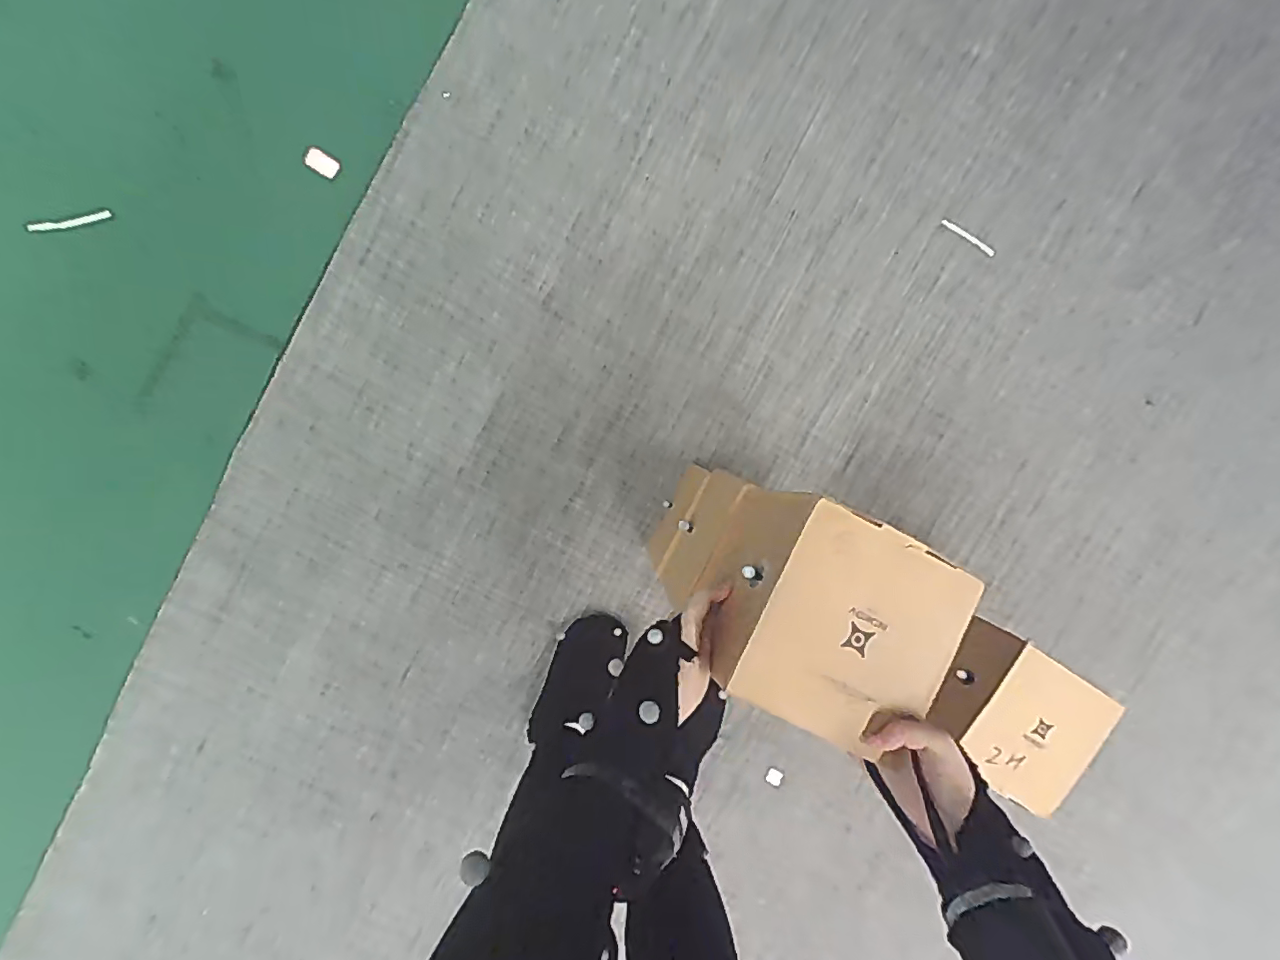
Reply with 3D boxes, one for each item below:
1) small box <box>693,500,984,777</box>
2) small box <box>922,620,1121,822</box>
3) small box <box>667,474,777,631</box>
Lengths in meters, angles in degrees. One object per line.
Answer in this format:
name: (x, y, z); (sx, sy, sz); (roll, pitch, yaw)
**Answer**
small box: (0.166, 0.128, 0.511); (0.168, 0.176, 0.179); (27, 88, -6)
small box: (0.474, 0.304, 0.738); (0.168, 0.176, 0.179); (33, 93, -7)
small box: (0.144, 0.108, 0.686); (0.168, 0.176, 0.179); (26, 94, -7)
